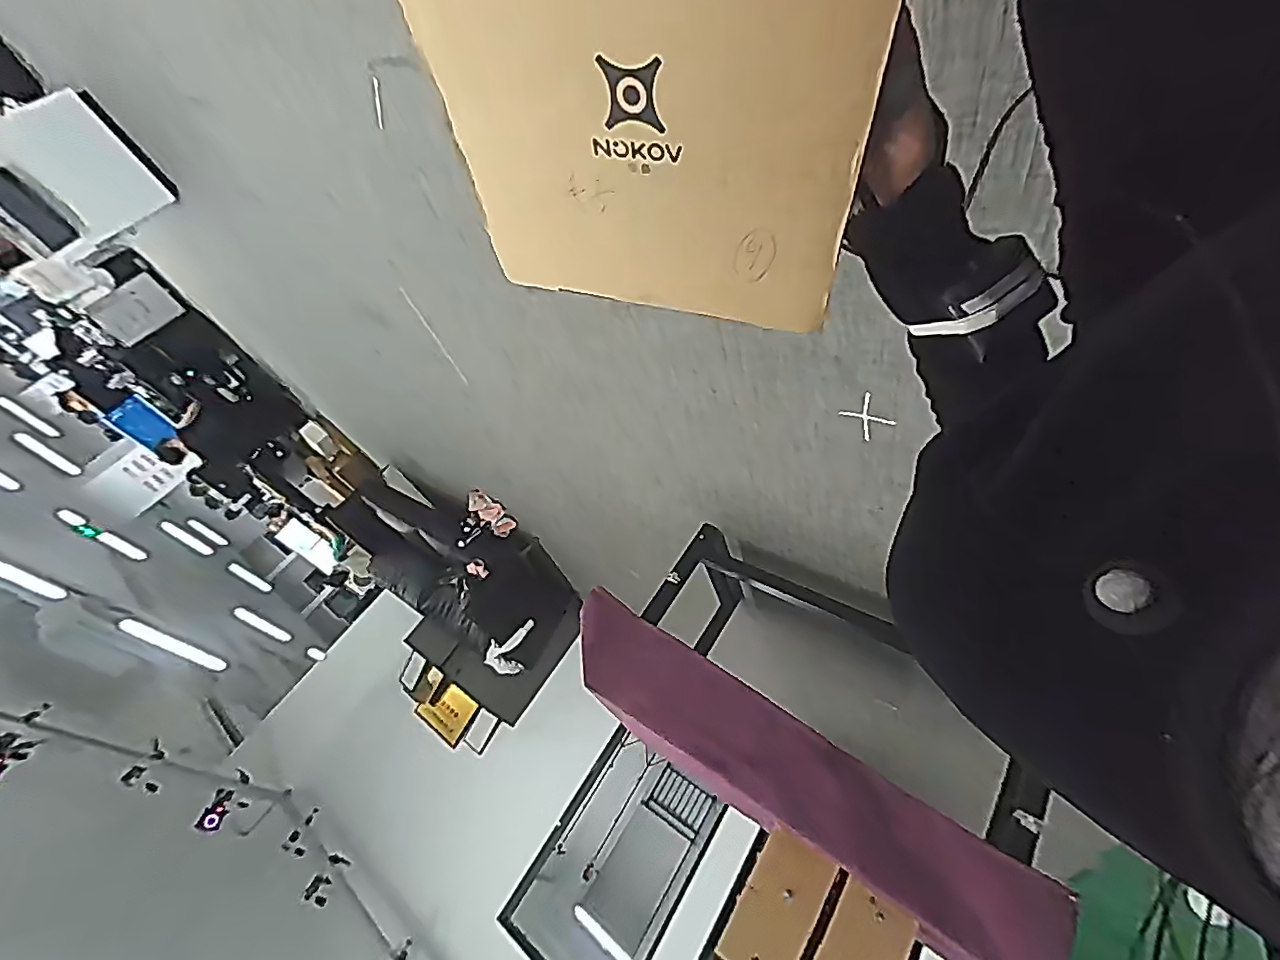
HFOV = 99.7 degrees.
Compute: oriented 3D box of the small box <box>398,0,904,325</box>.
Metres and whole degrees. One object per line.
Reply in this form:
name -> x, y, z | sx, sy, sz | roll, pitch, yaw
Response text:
small box -> 0.022, -0.200, 0.226 | 0.168, 0.176, 0.179 | 15, 151, 13
